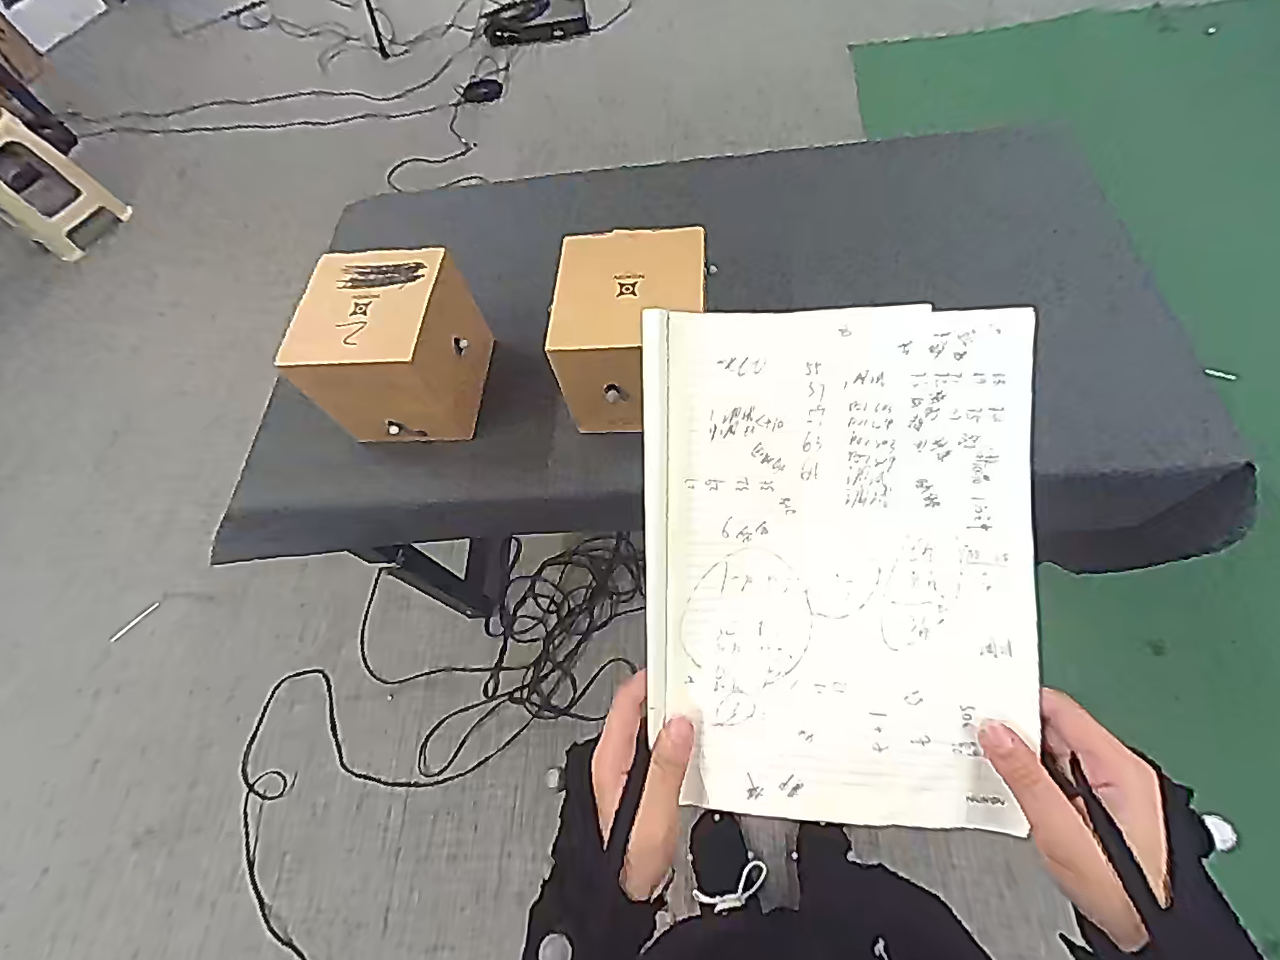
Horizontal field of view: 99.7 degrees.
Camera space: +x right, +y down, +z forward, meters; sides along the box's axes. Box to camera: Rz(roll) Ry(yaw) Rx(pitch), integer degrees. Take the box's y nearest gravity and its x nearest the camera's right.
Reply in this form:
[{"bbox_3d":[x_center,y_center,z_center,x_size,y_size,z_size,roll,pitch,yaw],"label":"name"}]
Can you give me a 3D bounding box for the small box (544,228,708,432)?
[{"bbox_3d":[-0.003,-0.168,0.649,0.168,0.176,0.179,-1,62,8],"label":"small box"}]
